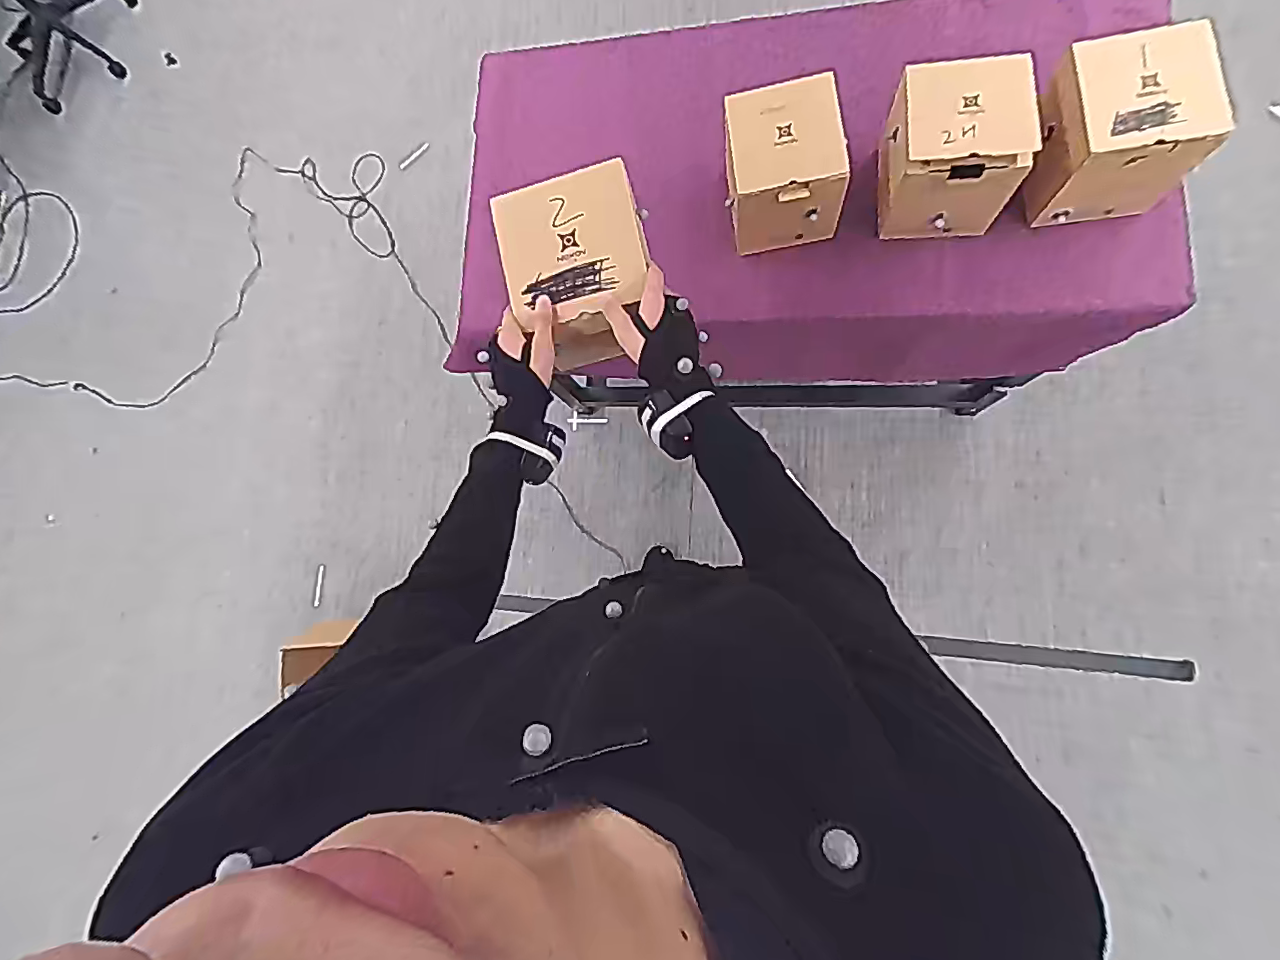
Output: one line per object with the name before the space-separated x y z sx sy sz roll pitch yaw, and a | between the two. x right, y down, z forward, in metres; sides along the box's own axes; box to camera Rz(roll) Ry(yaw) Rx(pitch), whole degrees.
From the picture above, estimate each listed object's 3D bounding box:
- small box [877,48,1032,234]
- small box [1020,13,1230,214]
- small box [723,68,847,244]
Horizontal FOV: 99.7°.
small box | 0.473 -0.511 0.837 0.168 0.176 0.179 3 83 12
small box | 0.689 -0.518 0.797 0.168 0.176 0.179 -3 81 11
small box | 0.231 -0.512 0.886 0.168 0.176 0.179 -7 81 9
